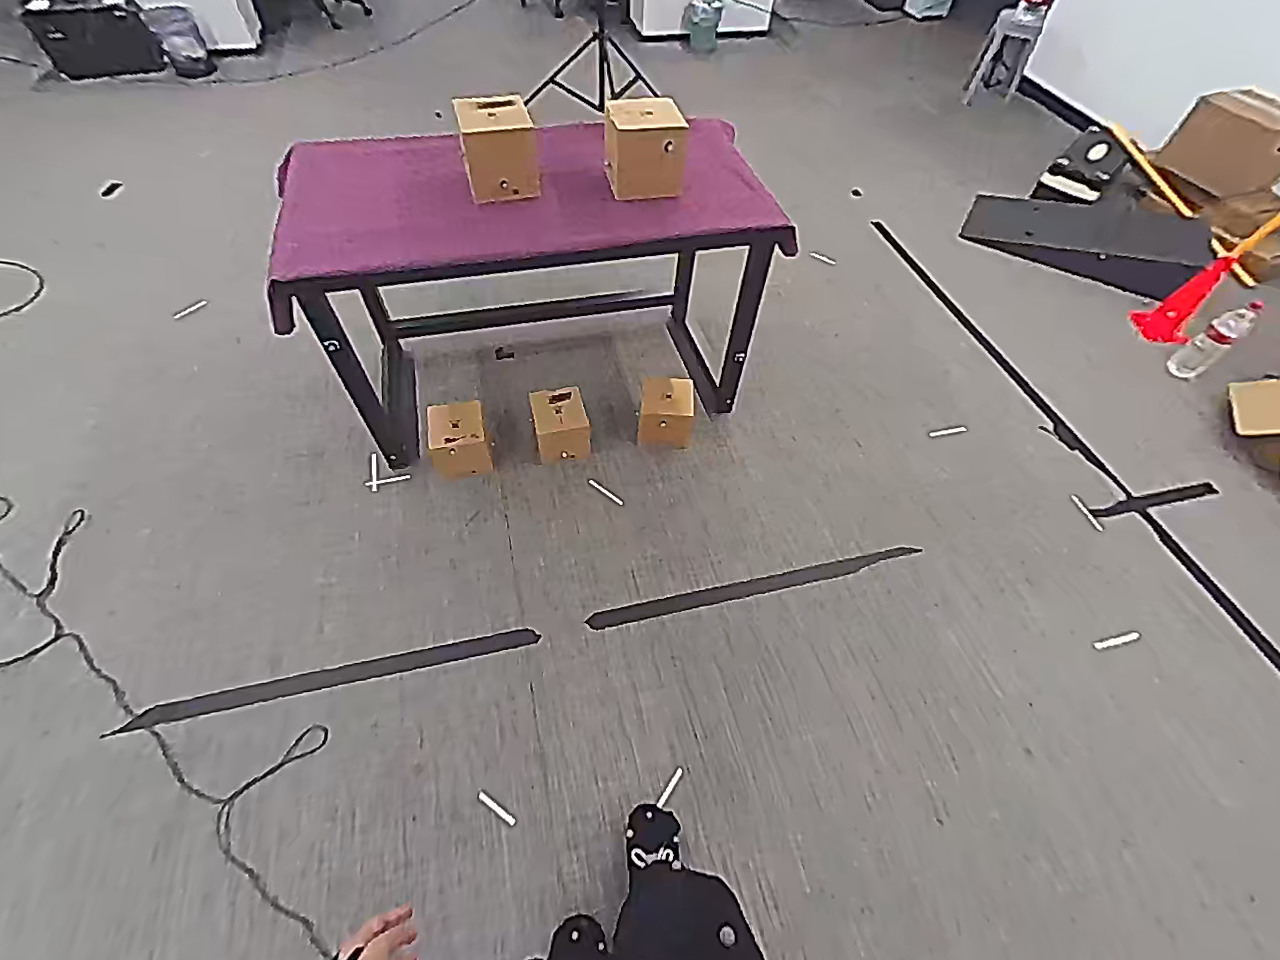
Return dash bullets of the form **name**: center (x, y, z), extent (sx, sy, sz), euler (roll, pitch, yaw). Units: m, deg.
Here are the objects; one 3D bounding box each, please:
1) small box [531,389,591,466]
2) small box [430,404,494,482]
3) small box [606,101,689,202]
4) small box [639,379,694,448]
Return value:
- **small box**: center (-0.260, -0.171, 1.789), extent (0.168, 0.176, 0.179), euler (-11, 57, -10)
- **small box**: center (-0.569, -0.119, 1.736), extent (0.168, 0.176, 0.179), euler (-9, 55, -9)
- **small box**: center (0.012, -0.833, 1.375), extent (0.179, 0.176, 0.168), euler (-9, 55, -9)
- **small box**: center (0.088, -0.222, 1.846), extent (0.179, 0.176, 0.168), euler (3, 56, 0)
